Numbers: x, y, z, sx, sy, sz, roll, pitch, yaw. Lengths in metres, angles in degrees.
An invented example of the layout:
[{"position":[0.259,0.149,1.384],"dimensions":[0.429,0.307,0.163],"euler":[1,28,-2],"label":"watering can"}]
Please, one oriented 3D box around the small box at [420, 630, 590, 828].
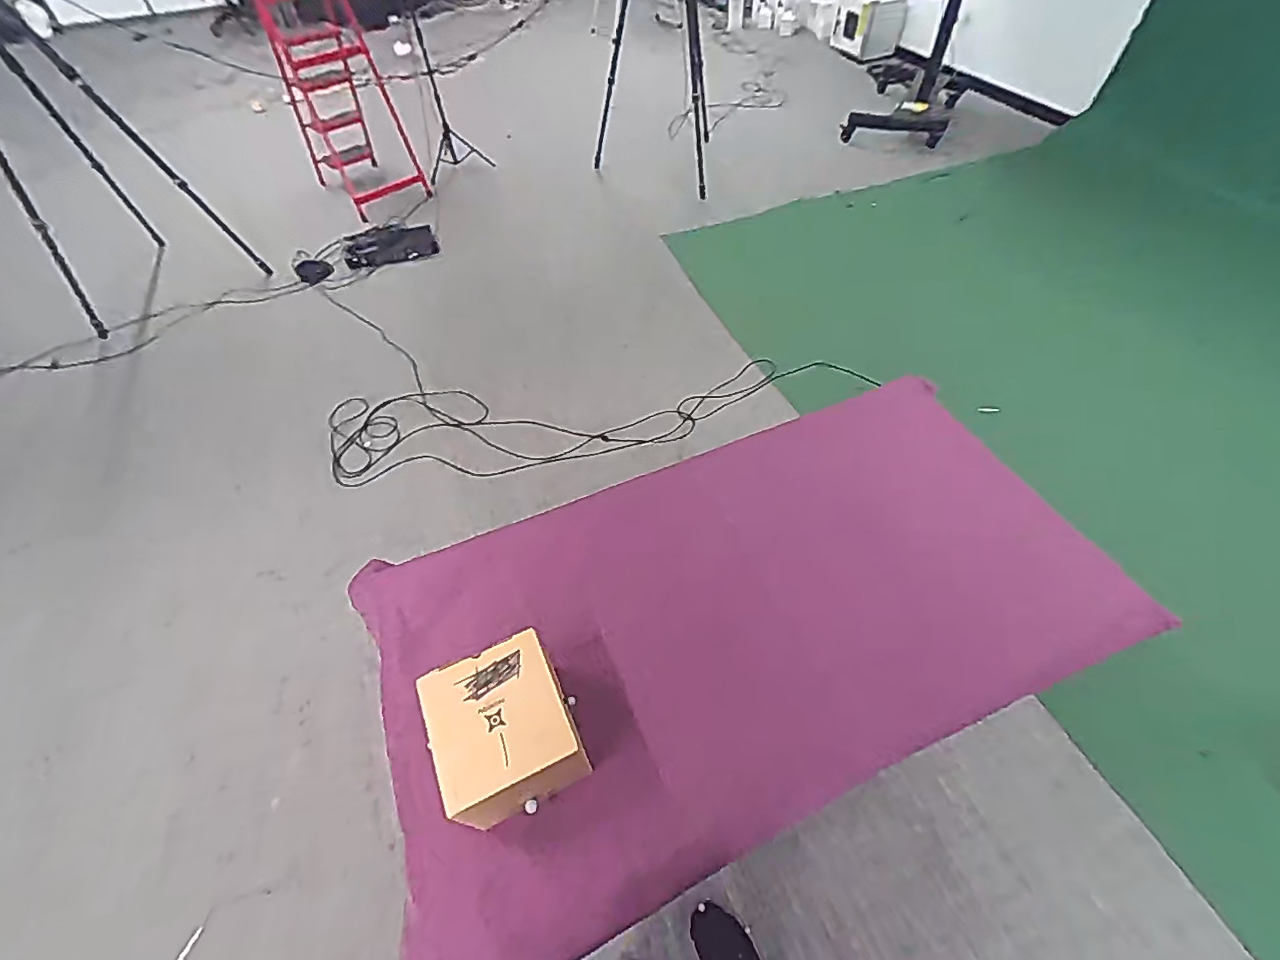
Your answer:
[{"position":[-0.178,0.342,0.739],"dimensions":[0.168,0.176,0.179],"euler":[-22,56,-14],"label":"small box"}]
